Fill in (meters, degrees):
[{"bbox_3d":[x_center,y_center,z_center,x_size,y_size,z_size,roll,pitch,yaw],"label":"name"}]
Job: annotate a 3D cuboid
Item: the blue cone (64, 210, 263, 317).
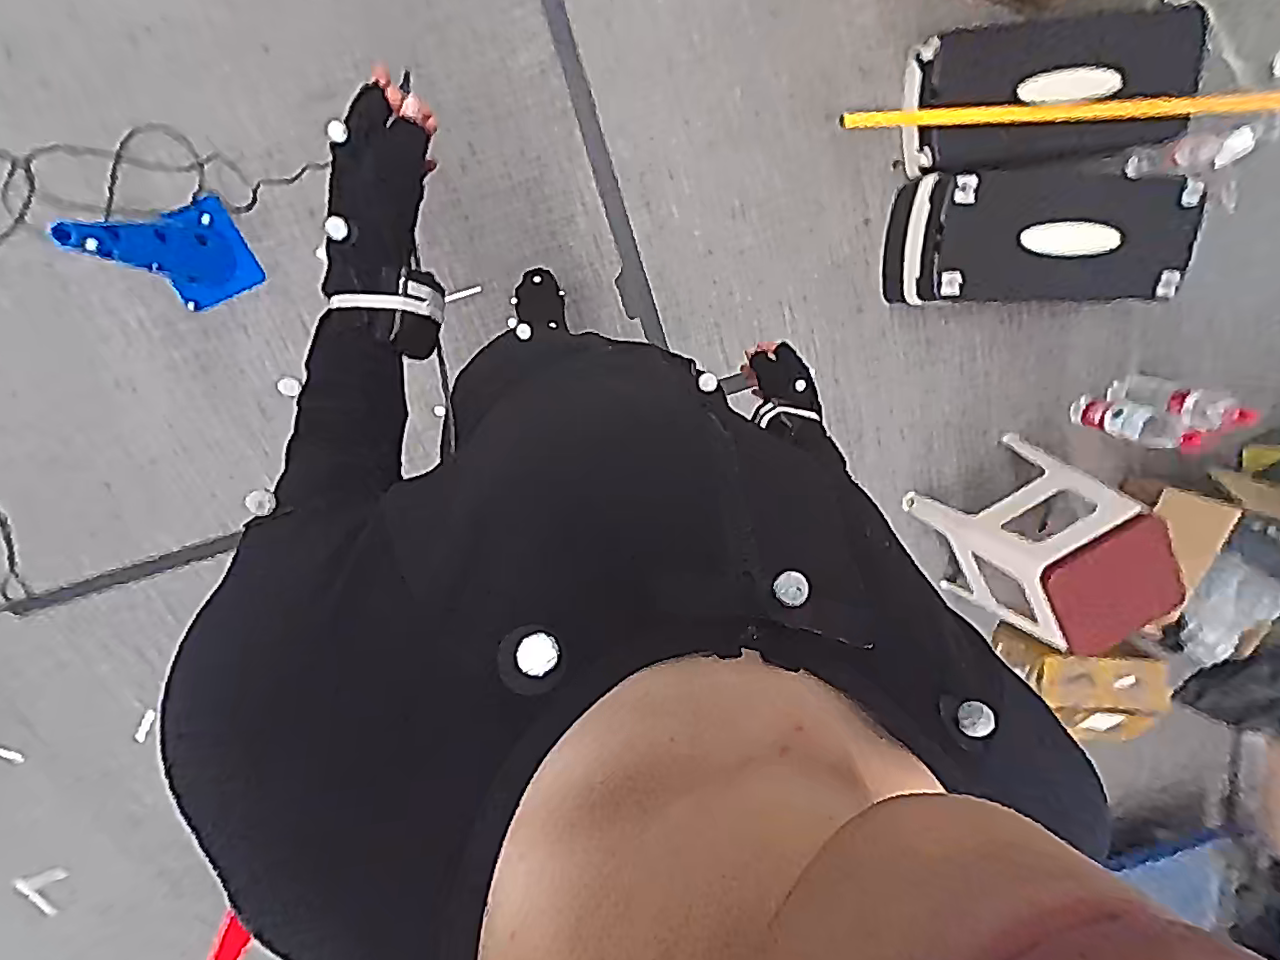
[{"bbox_3d":[-0.966,-0.444,1.071,0.193,0.380,0.192,-23,109,1],"label":"blue cone"}]
